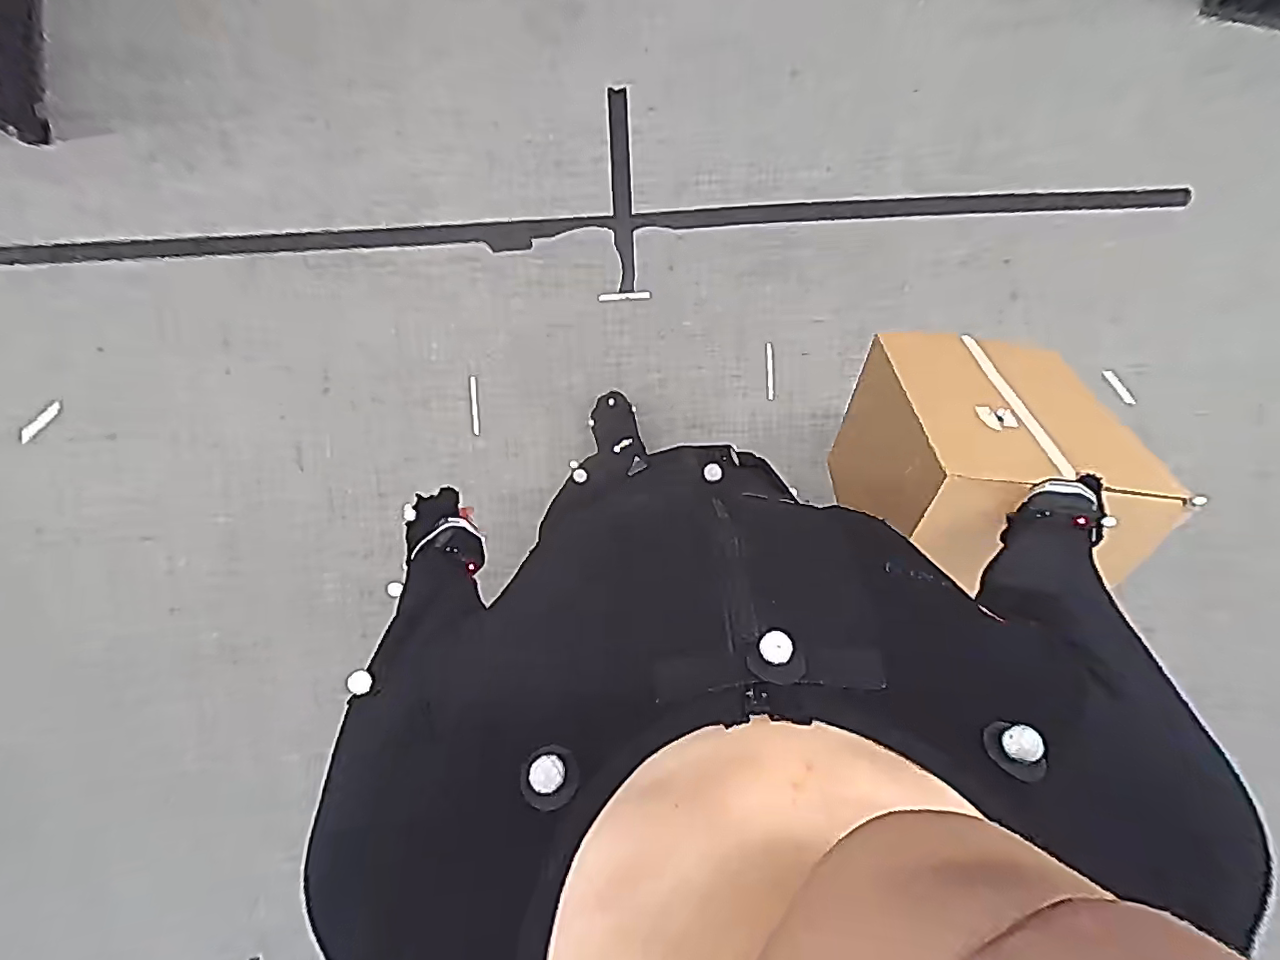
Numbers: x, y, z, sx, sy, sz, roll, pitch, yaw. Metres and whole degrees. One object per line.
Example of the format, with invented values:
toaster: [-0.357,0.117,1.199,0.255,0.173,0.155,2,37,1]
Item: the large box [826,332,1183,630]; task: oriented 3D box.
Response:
large box: [0.551,-0.009,0.939,0.320,0.408,0.320,6,133,1]
